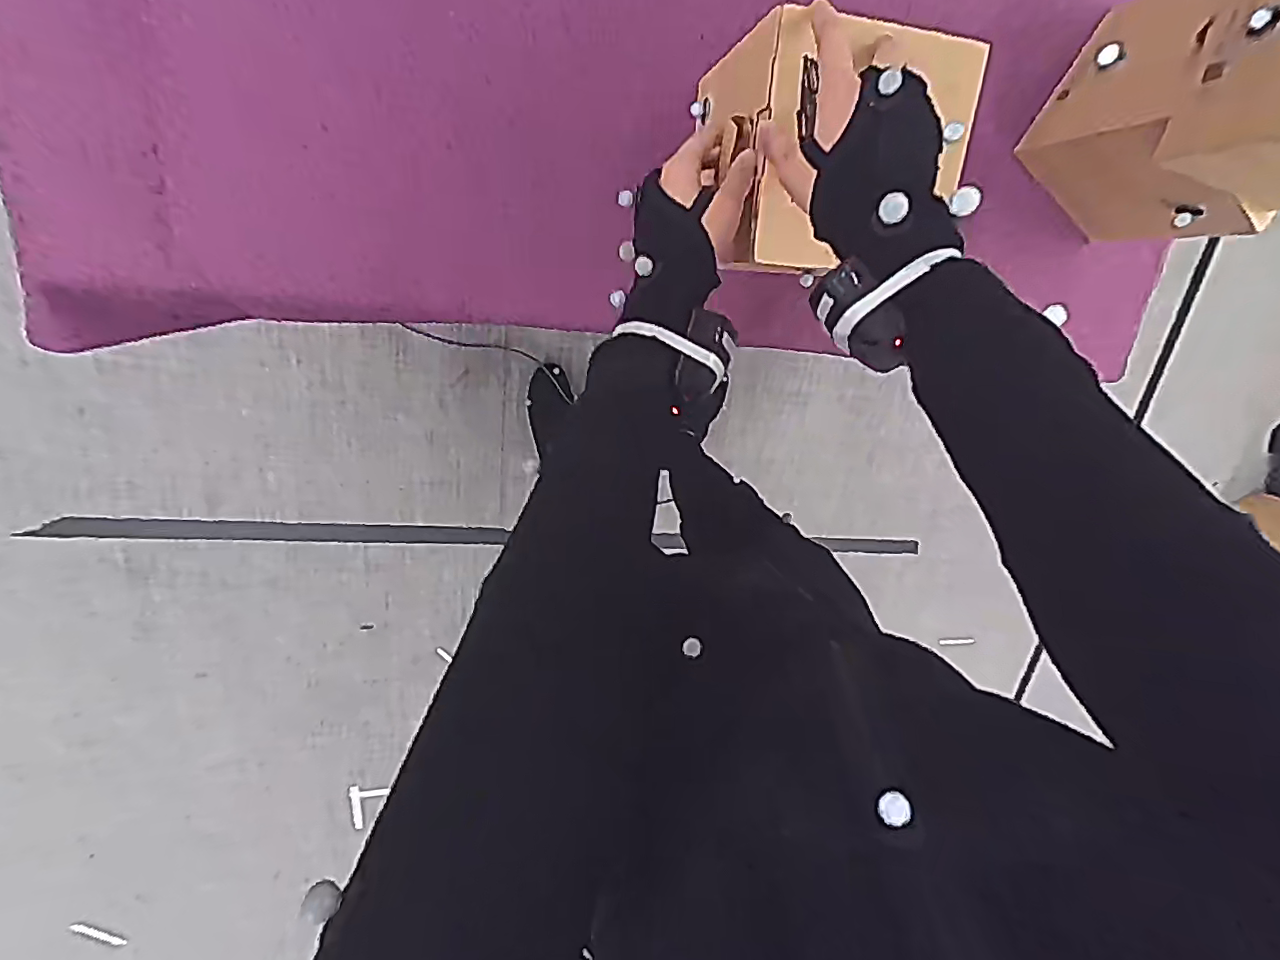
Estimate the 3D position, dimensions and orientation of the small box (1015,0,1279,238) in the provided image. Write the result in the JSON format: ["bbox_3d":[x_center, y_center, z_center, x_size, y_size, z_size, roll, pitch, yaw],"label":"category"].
[{"bbox_3d":[0.542,-0.368,0.547,0.179,0.176,0.168,28,102,-22],"label":"small box"}]
